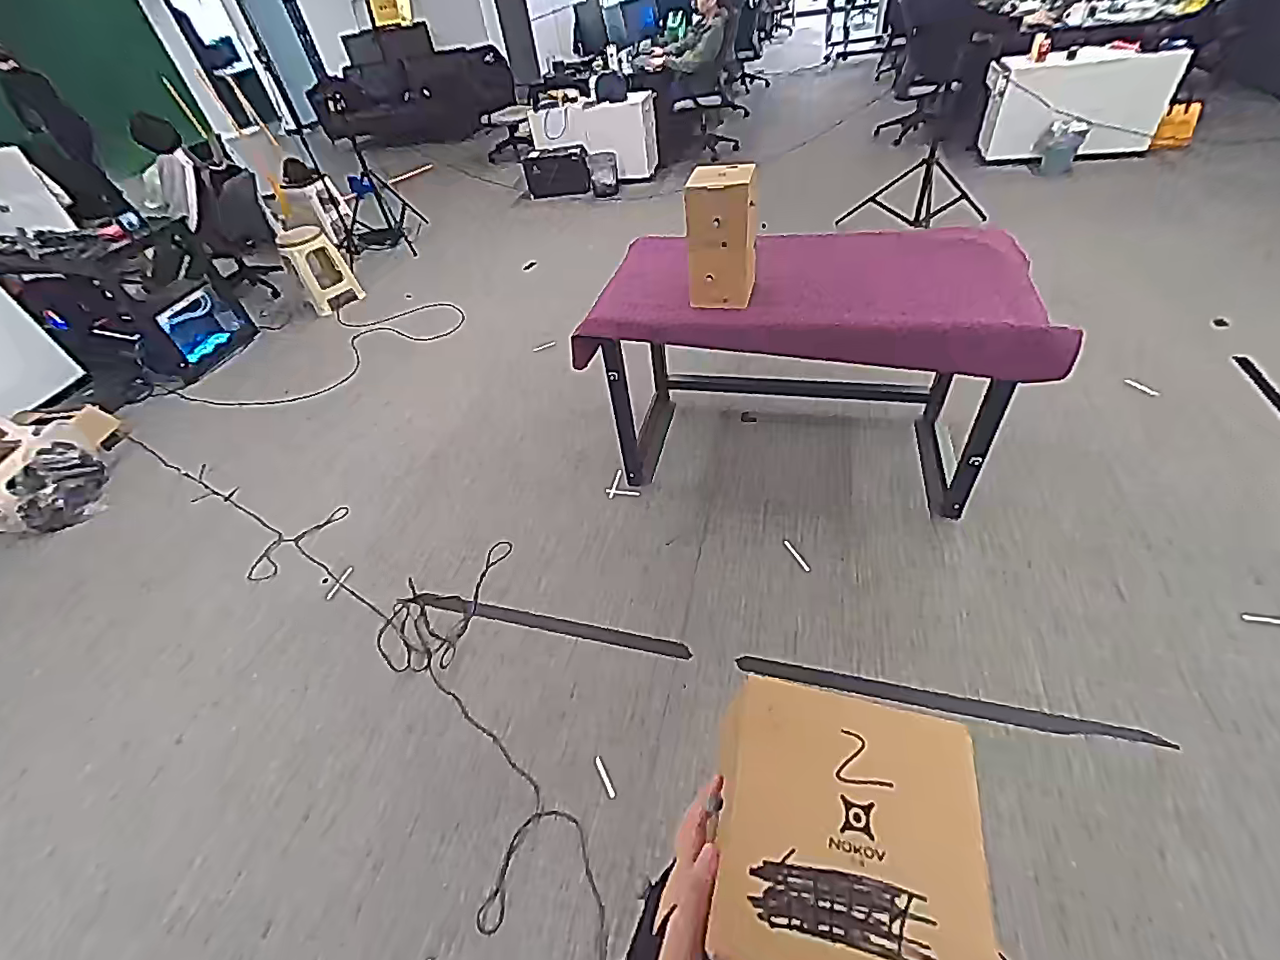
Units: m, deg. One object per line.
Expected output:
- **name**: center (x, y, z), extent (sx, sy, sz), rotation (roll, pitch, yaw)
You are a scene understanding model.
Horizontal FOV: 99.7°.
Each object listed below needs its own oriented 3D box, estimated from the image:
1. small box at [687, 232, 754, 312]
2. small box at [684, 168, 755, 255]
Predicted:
- **small box**: center (0.241, -0.609, 1.588), extent (0.168, 0.176, 0.179), rotation (7, 46, 16)
- **small box**: center (0.221, -0.729, 1.478), extent (0.168, 0.176, 0.179), rotation (6, 46, 15)
